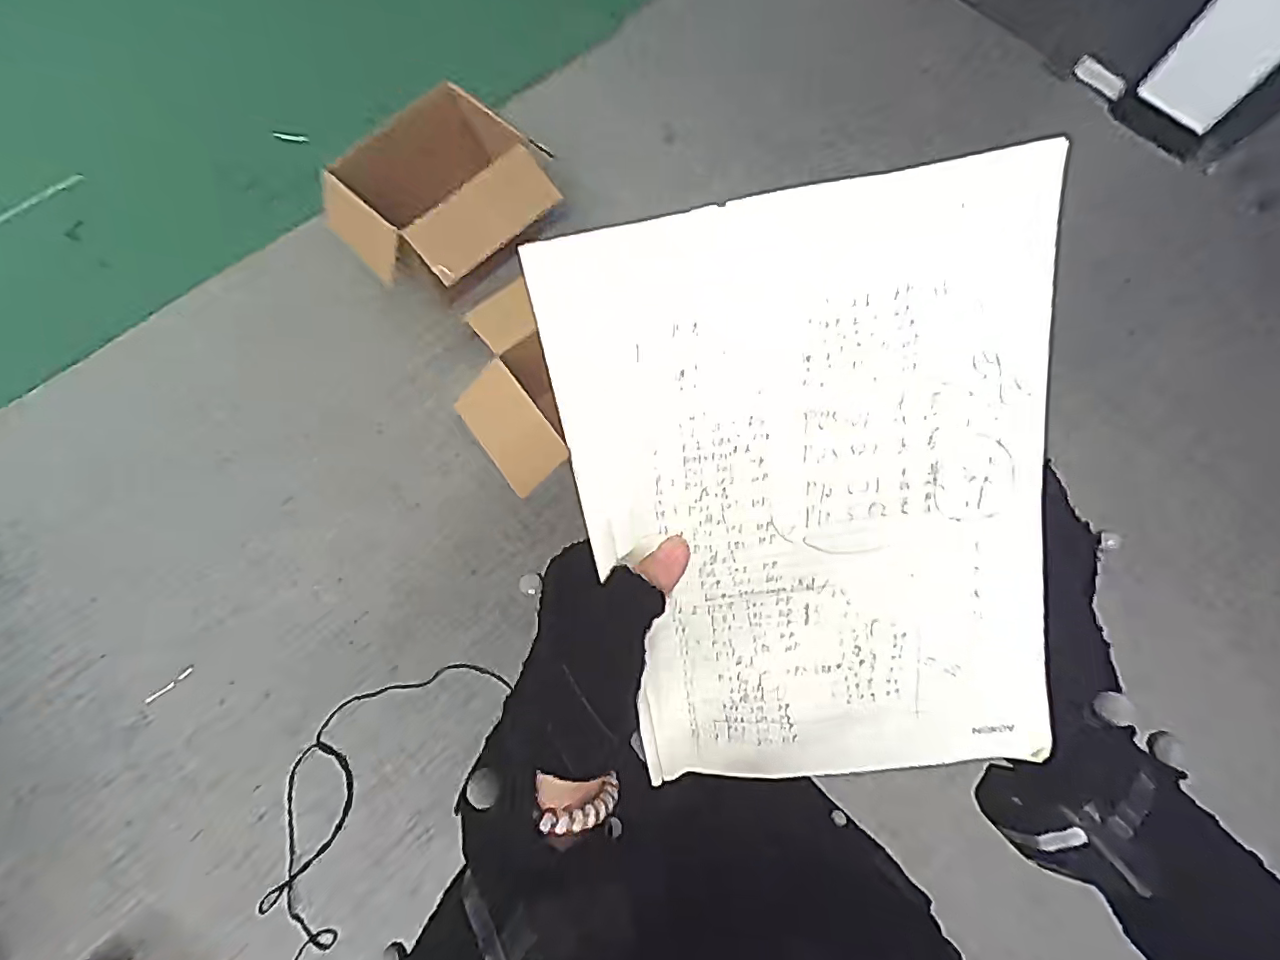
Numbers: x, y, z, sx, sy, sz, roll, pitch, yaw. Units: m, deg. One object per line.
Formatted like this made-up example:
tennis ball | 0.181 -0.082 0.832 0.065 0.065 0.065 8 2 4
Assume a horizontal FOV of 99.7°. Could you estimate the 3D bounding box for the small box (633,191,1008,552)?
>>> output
small box | 0.091 -0.056 0.340 0.179 0.176 0.168 -4 96 1
